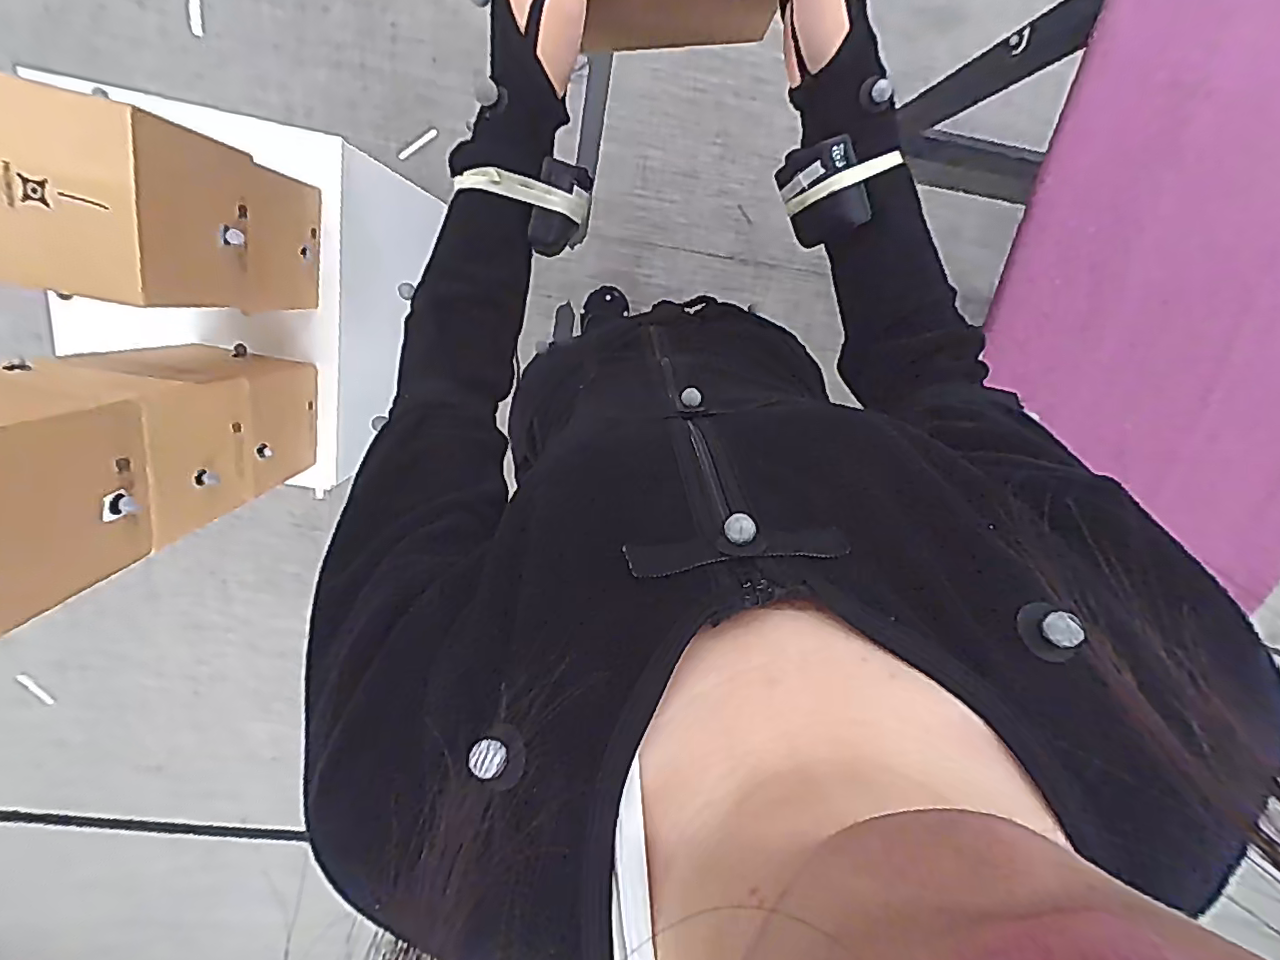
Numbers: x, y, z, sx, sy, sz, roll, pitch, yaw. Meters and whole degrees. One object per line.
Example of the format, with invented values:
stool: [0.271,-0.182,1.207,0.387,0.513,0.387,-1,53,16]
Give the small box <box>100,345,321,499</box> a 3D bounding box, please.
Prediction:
small box: [-0.579,-0.089,0.752,0.179,0.176,0.168,10,108,-6]

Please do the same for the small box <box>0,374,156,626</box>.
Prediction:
small box: [-0.559,0.009,0.443,0.179,0.176,0.168,8,108,-7]

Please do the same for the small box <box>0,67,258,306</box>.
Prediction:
small box: [-0.514,-0.270,0.524,0.179,0.176,0.168,10,108,-8]

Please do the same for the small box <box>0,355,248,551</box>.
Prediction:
small box: [-0.568,-0.040,0.598,0.179,0.176,0.168,8,107,-6]

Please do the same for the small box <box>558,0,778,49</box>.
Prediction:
small box: [0.022,-0.429,0.369,0.179,0.176,0.168,-3,108,1]
